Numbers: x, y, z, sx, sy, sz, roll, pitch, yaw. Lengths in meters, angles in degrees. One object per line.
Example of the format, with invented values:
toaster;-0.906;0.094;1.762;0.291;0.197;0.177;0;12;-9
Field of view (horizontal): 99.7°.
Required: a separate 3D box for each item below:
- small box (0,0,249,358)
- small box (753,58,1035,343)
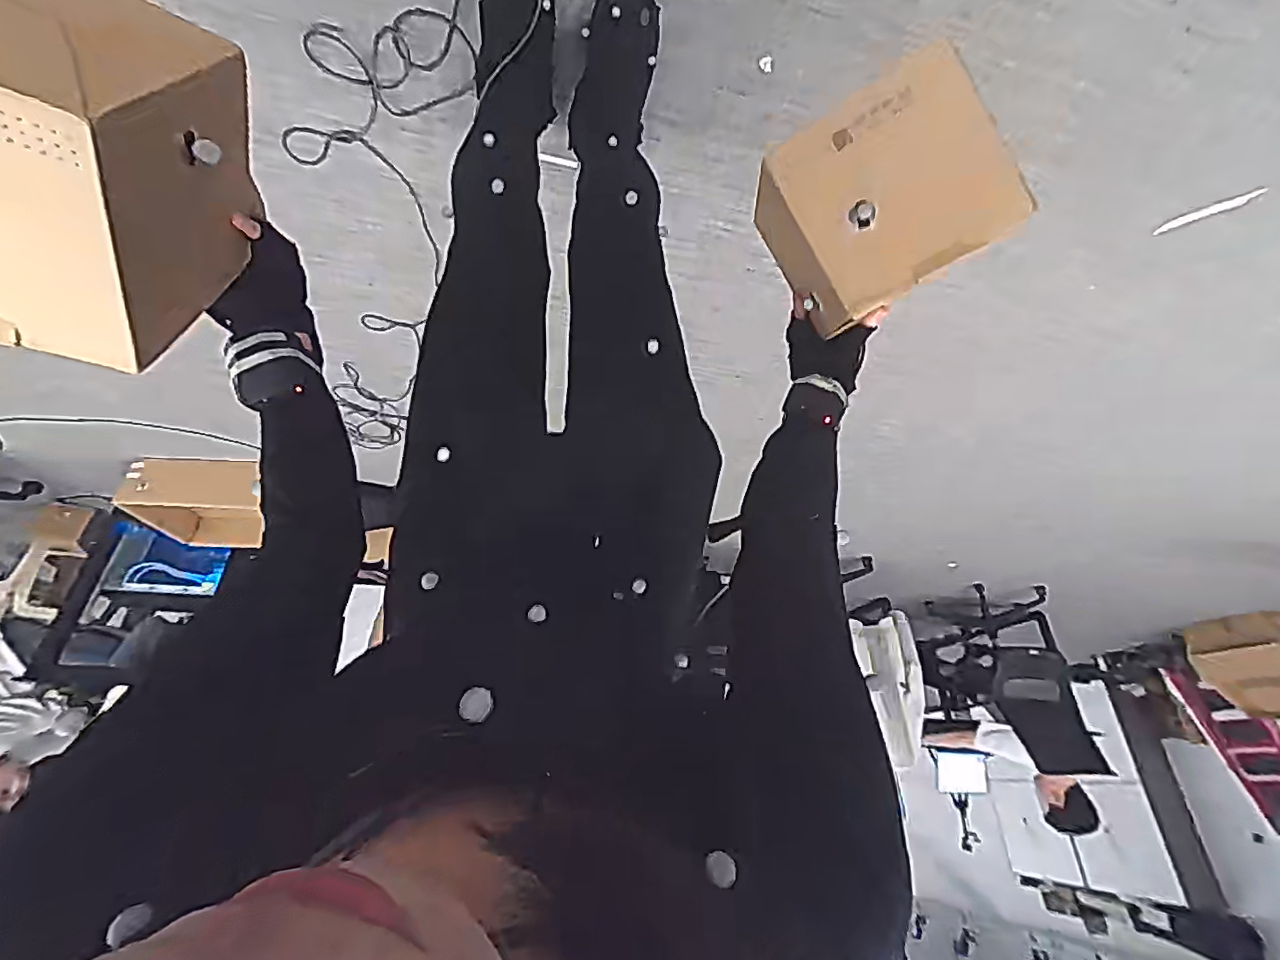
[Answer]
small box;-0.373;-0.213;0.332;0.168;0.179;0.176;18;131;-21
small box;0.225;-0.260;0.533;0.168;0.176;0.179;-29;-177;10
